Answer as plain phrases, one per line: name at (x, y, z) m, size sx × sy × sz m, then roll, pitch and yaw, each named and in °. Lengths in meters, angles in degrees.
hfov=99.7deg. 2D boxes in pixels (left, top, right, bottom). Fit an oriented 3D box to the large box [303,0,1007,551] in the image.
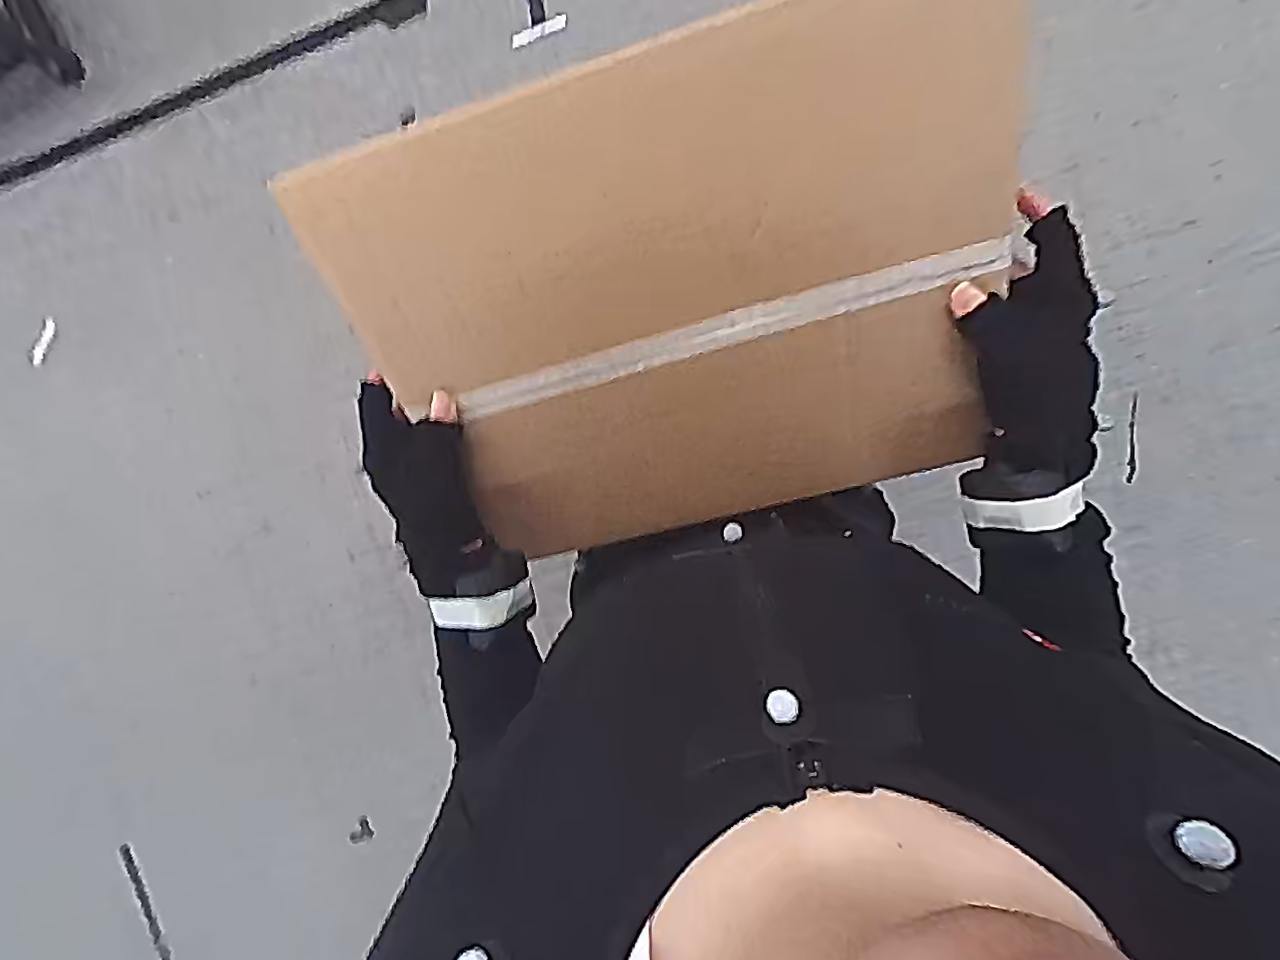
large box at (0.025, -0.187, 0.492) m, size 0.408 × 0.320 × 0.320 m, roll -14°, pitch 126°, yaw 8°
